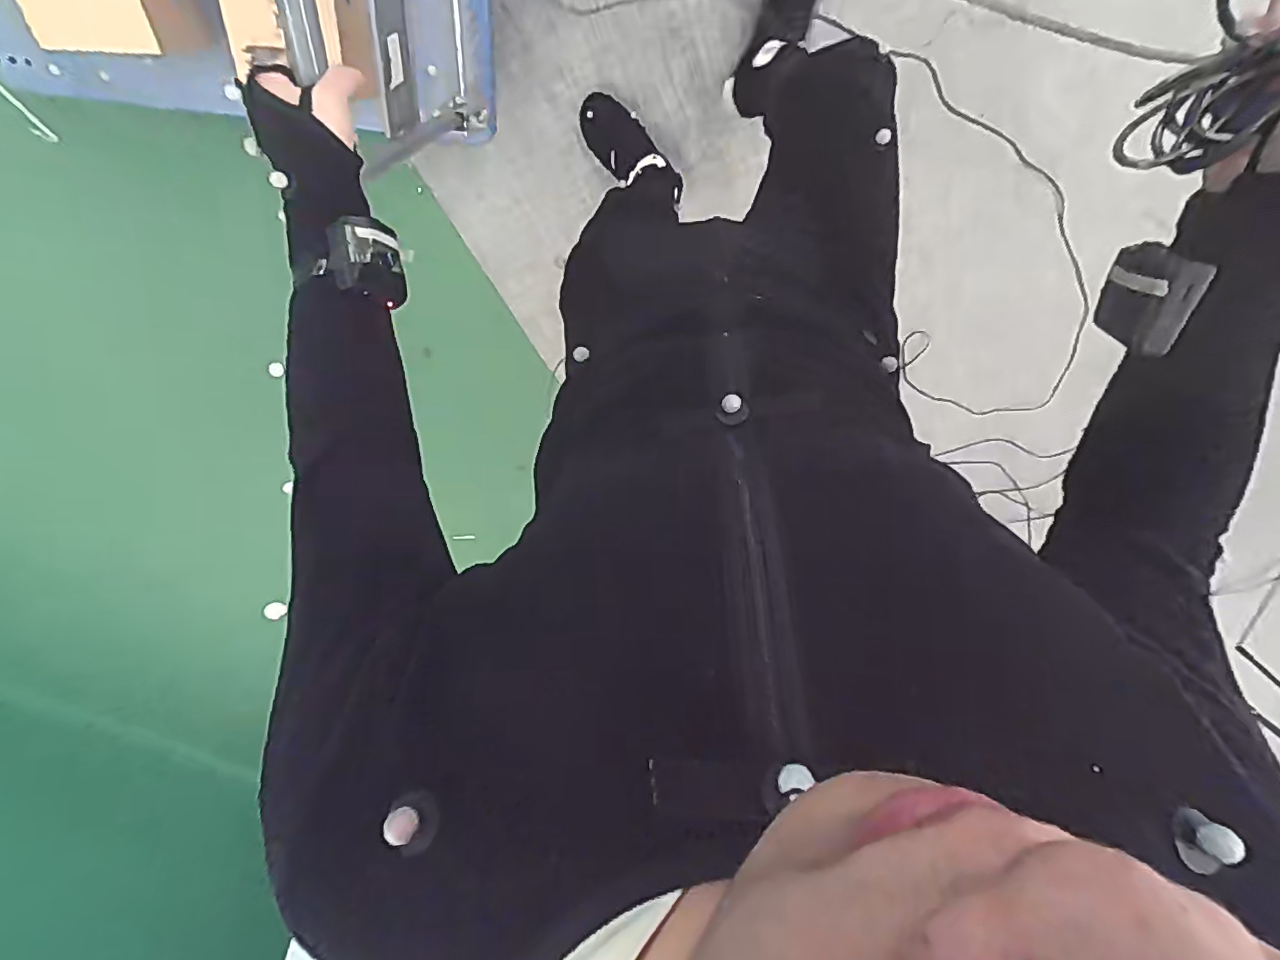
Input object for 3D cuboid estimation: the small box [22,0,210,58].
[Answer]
[{"bbox_3d":[-0.817,-0.770,0.837,0.179,0.176,0.168,0,131,-5],"label":"small box"}]
